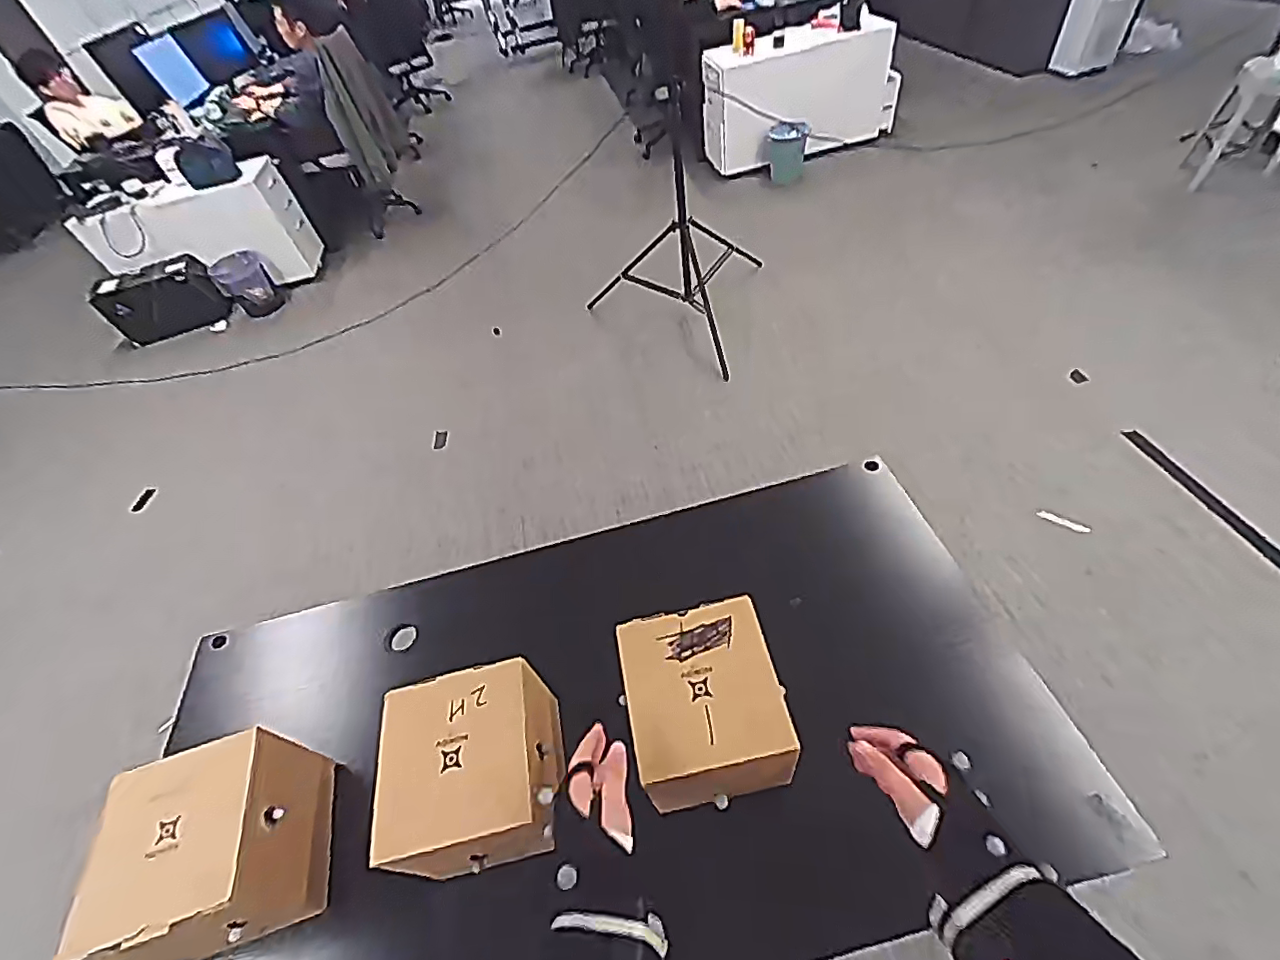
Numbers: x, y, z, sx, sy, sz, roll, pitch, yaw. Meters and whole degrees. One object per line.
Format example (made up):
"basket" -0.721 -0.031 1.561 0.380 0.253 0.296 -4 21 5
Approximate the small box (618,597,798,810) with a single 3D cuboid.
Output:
"small box" 0.076 0.271 0.651 0.168 0.176 0.179 -13 50 0

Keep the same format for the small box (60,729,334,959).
"small box" -0.485 0.426 0.631 0.168 0.176 0.179 -18 49 -6

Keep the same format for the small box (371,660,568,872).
"small box" -0.189 0.344 0.642 0.168 0.176 0.179 -14 49 -2
